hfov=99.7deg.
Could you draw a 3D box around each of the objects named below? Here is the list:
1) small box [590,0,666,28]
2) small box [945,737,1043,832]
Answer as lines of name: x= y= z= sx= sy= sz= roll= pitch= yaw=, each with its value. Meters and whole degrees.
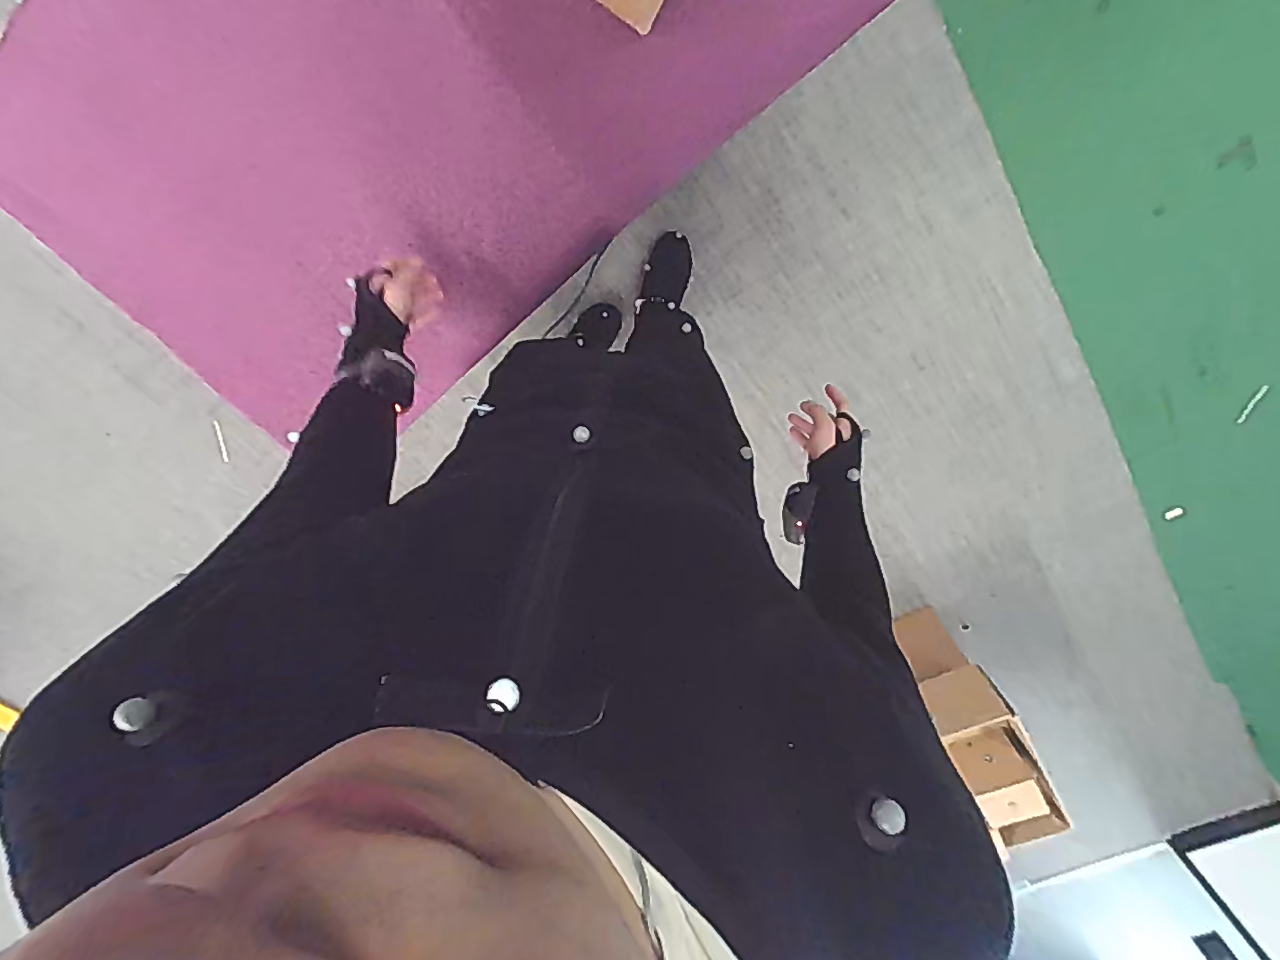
small box: x=-0.023 y=-0.581 z=0.516 sx=0.179 sy=0.176 sz=0.168 roll=29 pitch=115 yaw=-13
small box: x=1.037 y=0.890 z=1.597 sx=0.168 sy=0.176 sz=0.179 roll=-29 pitch=113 yaw=16
